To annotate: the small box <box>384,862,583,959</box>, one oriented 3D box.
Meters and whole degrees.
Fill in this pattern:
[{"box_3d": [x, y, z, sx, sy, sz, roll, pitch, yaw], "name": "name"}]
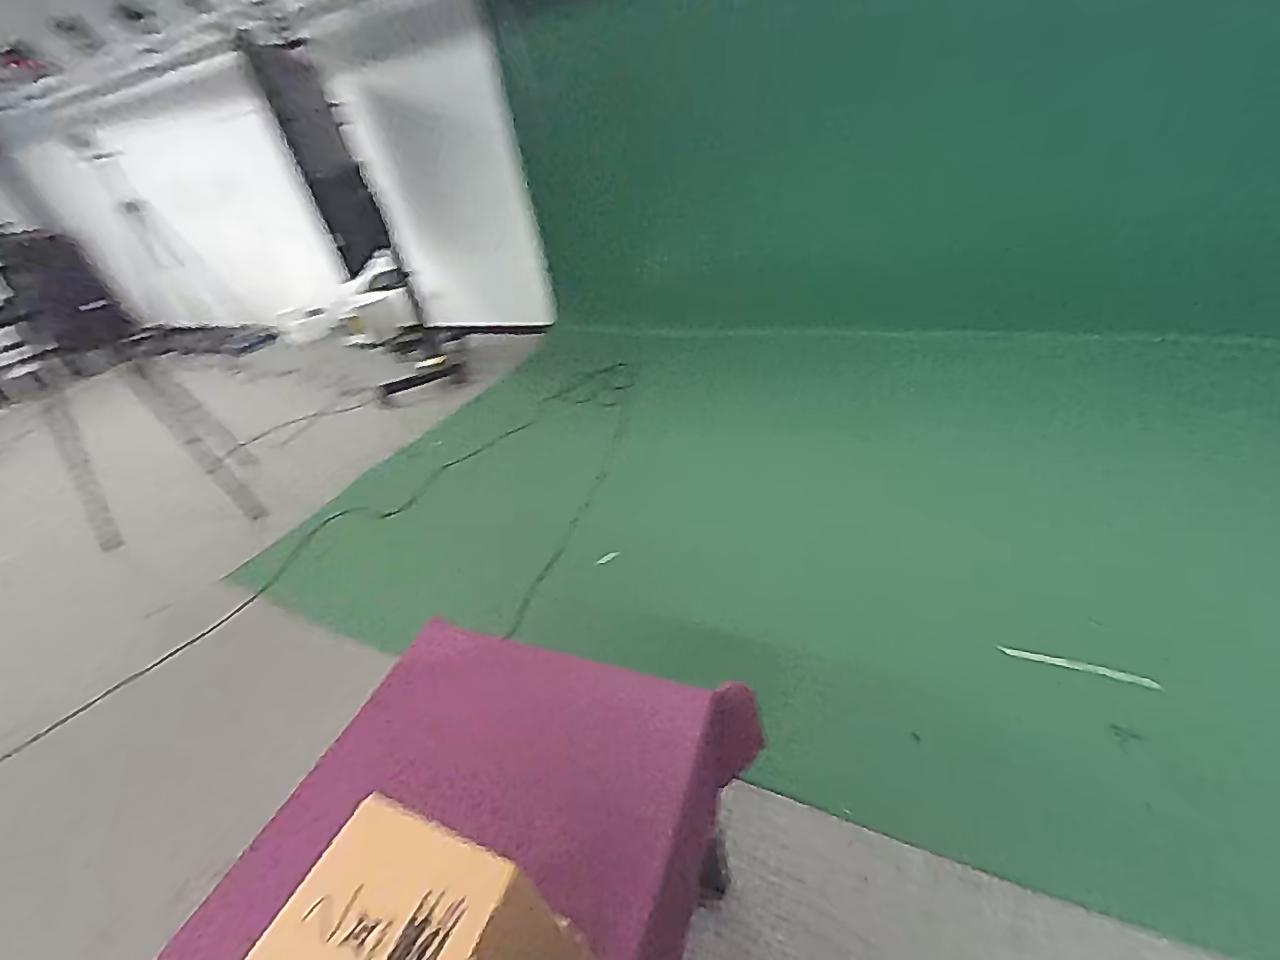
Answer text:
[{"box_3d": [-0.166, 0.548, 0.553, 0.168, 0.176, 0.179, 6, 39, 25], "name": "small box"}]
